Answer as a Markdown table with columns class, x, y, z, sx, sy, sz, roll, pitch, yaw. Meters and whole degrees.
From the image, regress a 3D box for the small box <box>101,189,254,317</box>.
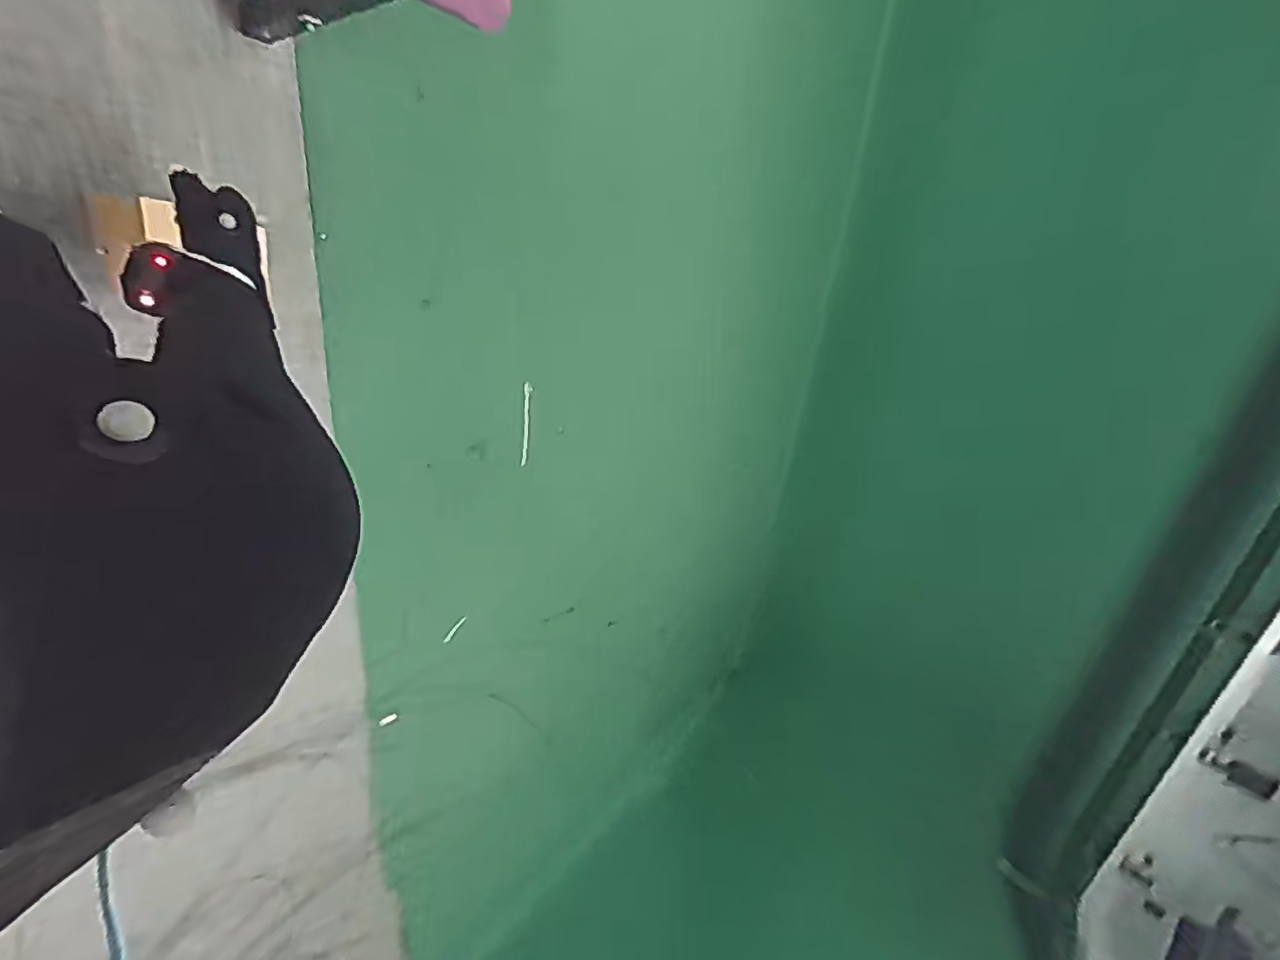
| class | x | y | z | sx | sy | sz | roll | pitch | yaw |
| --- | --- | --- | --- | --- | --- | --- | --- | --- | --- |
| small box | -0.803 | -0.392 | 0.943 | 0.168 | 0.176 | 0.179 | -14 | 120 | -51 |
